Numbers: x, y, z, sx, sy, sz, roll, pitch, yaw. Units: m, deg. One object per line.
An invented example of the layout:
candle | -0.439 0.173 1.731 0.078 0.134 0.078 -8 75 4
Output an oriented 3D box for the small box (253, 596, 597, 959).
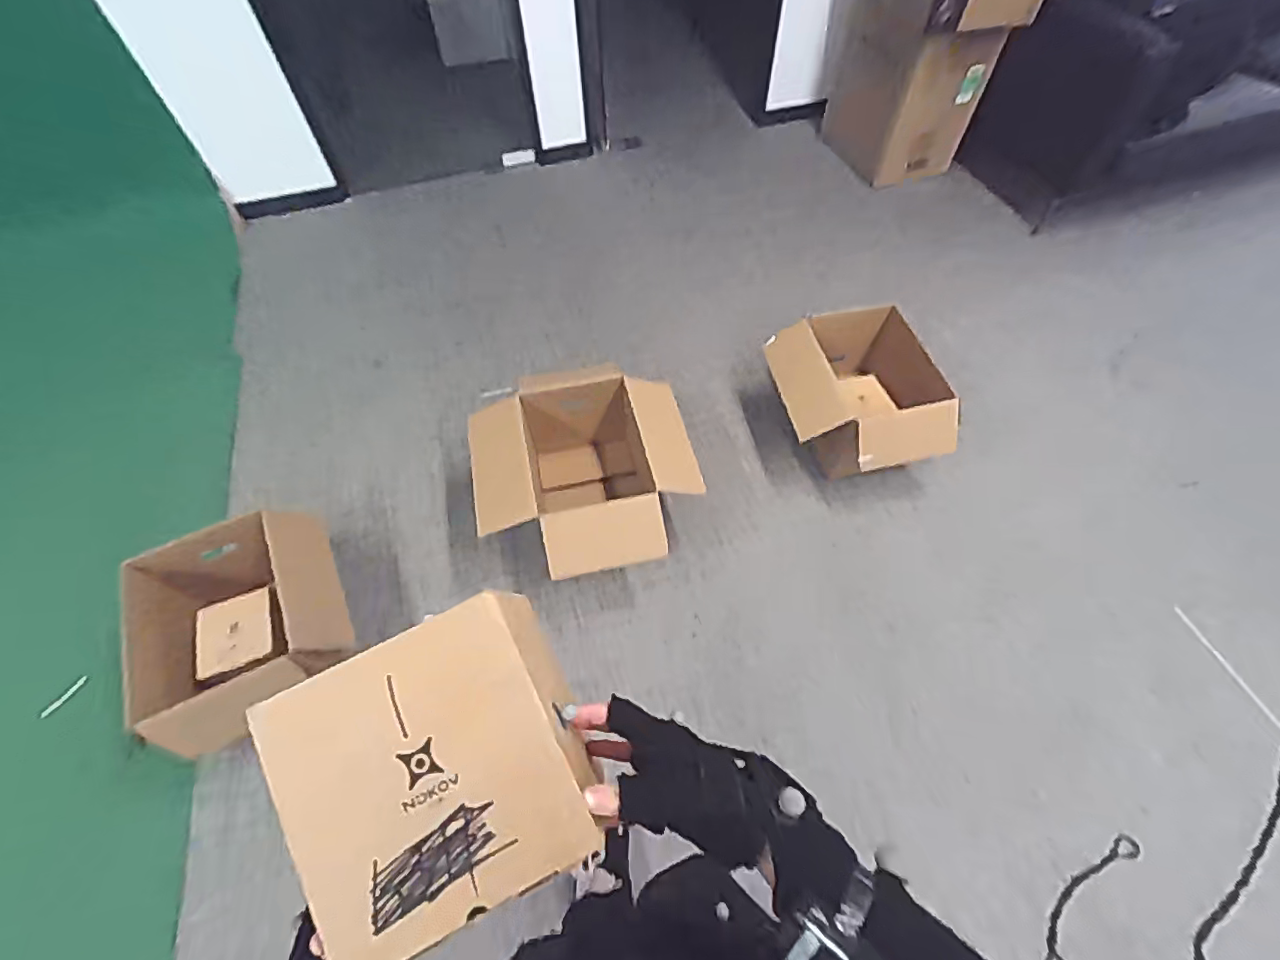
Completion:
small box | -0.138 0.202 0.411 0.168 0.176 0.179 -24 78 -10
